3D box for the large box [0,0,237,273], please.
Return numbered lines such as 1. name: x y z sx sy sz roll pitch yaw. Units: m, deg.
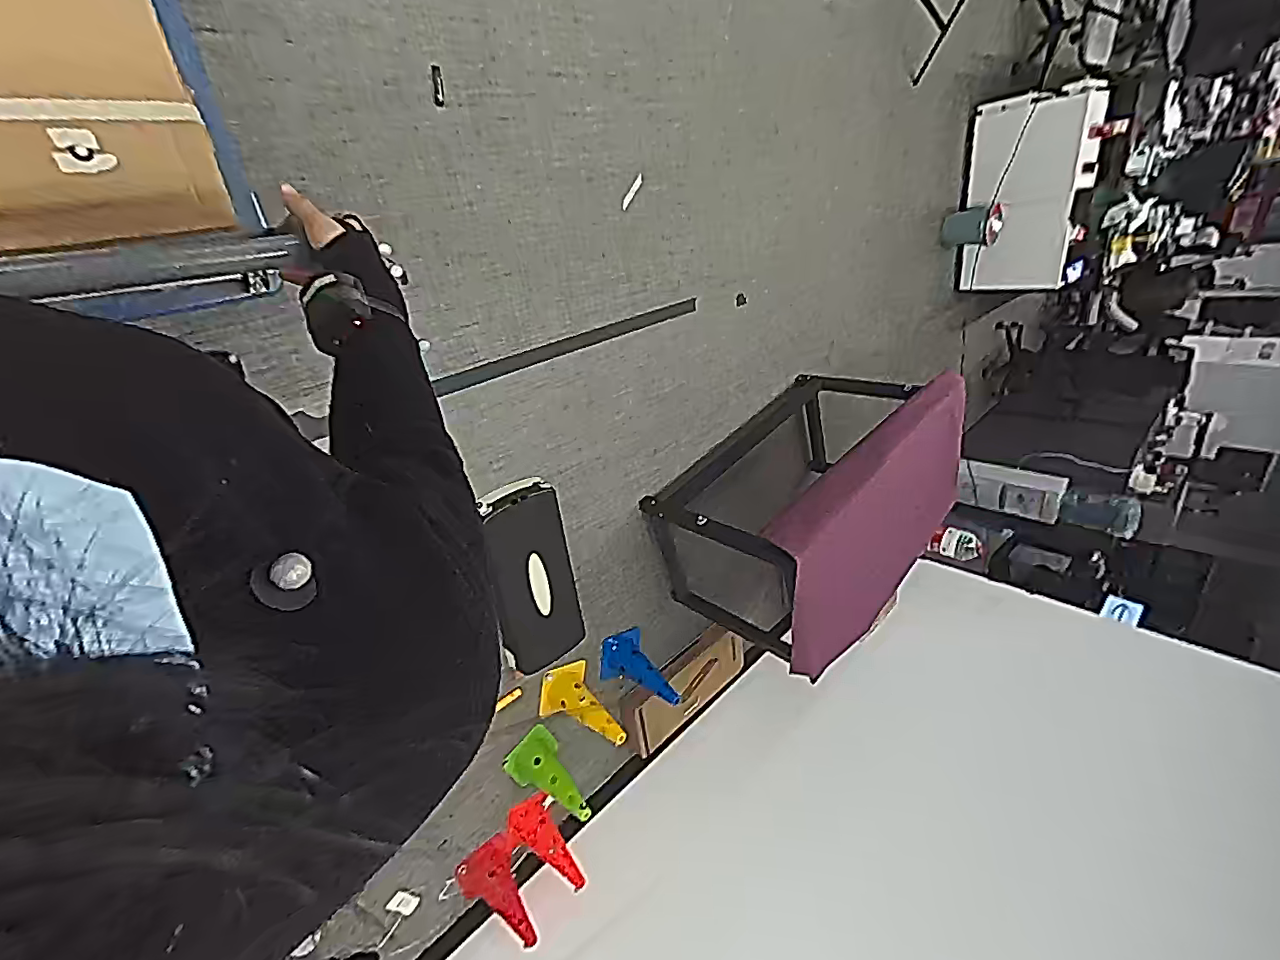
1. large box: -0.858 -0.463 0.728 0.408 0.320 0.320 -27 121 -36
